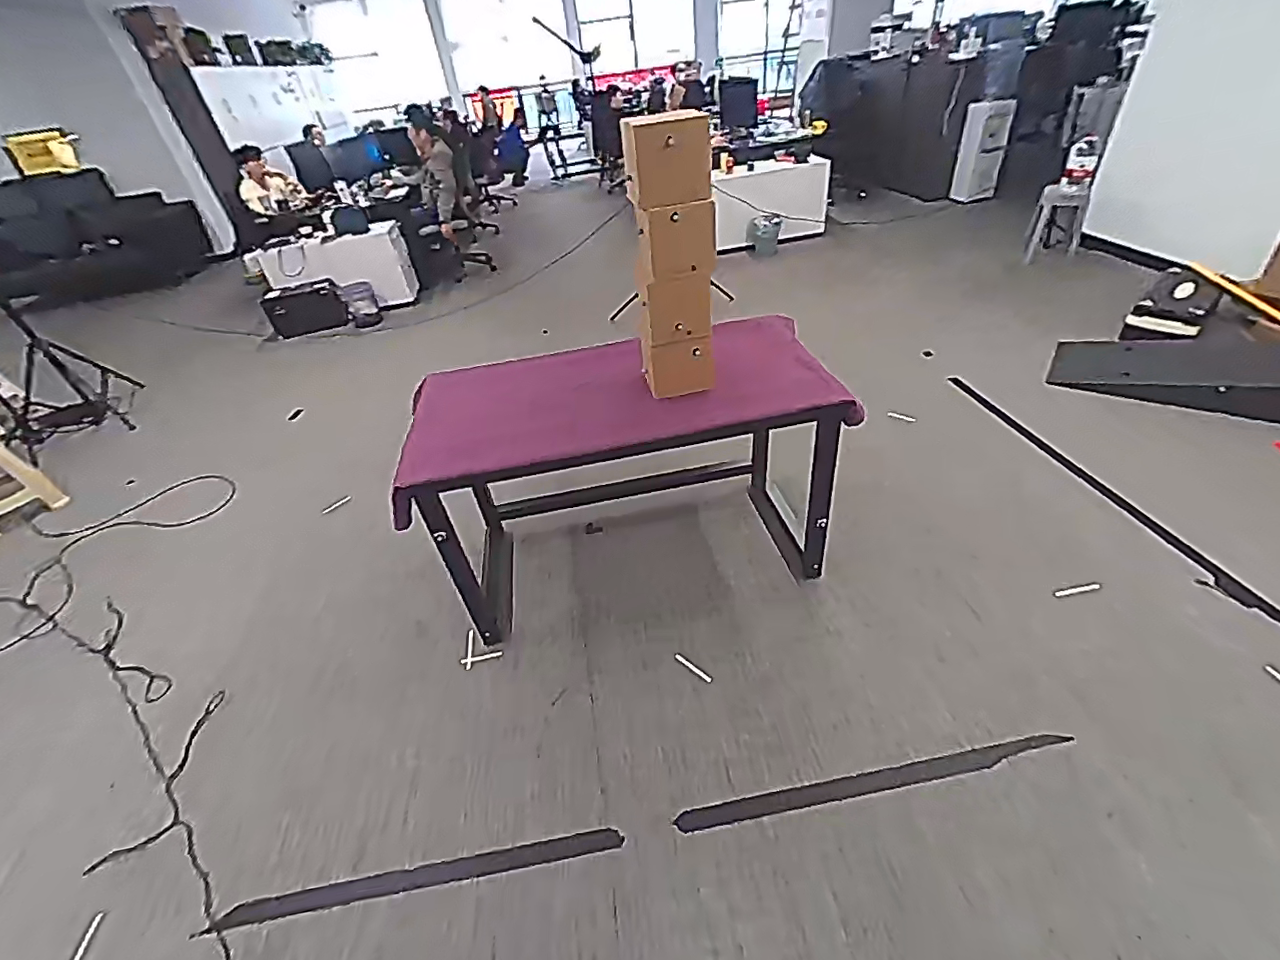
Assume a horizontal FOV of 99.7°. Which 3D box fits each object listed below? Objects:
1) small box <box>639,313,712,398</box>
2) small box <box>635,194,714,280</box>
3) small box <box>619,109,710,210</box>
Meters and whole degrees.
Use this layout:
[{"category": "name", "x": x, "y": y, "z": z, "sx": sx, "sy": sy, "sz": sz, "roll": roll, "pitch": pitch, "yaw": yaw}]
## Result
[{"category": "small box", "x": 0.102, "y": -0.358, "z": 1.558, "sx": 0.179, "sy": 0.176, "sz": 0.168, "roll": -12, "pitch": 38, "yaw": -4}, {"category": "small box", "x": 0.084, "y": -0.616, "z": 1.356, "sx": 0.168, "sy": 0.176, "sz": 0.179, "roll": -12, "pitch": 38, "yaw": -4}, {"category": "small box", "x": 0.057, "y": -0.748, "z": 1.264, "sx": 0.179, "sy": 0.176, "sz": 0.168, "roll": -12, "pitch": 39, "yaw": -5}]
